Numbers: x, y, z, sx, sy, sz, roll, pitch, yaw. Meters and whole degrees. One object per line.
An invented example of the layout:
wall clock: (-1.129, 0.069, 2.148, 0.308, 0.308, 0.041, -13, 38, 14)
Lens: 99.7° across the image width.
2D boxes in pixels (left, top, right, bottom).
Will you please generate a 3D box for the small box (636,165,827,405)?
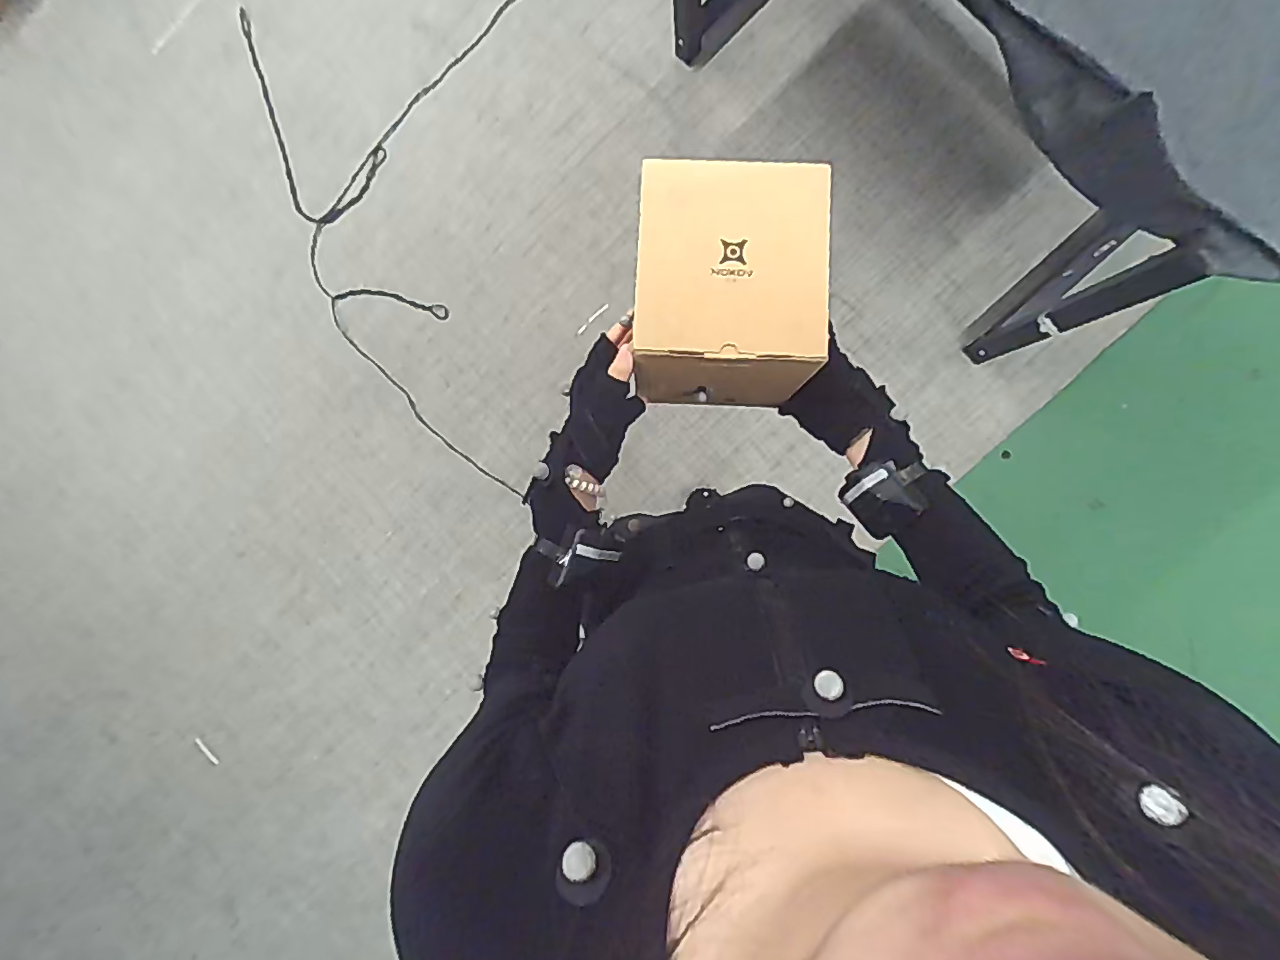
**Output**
small box: (0.082, -0.185, 0.555, 0.168, 0.176, 0.179, 2, 85, 1)
